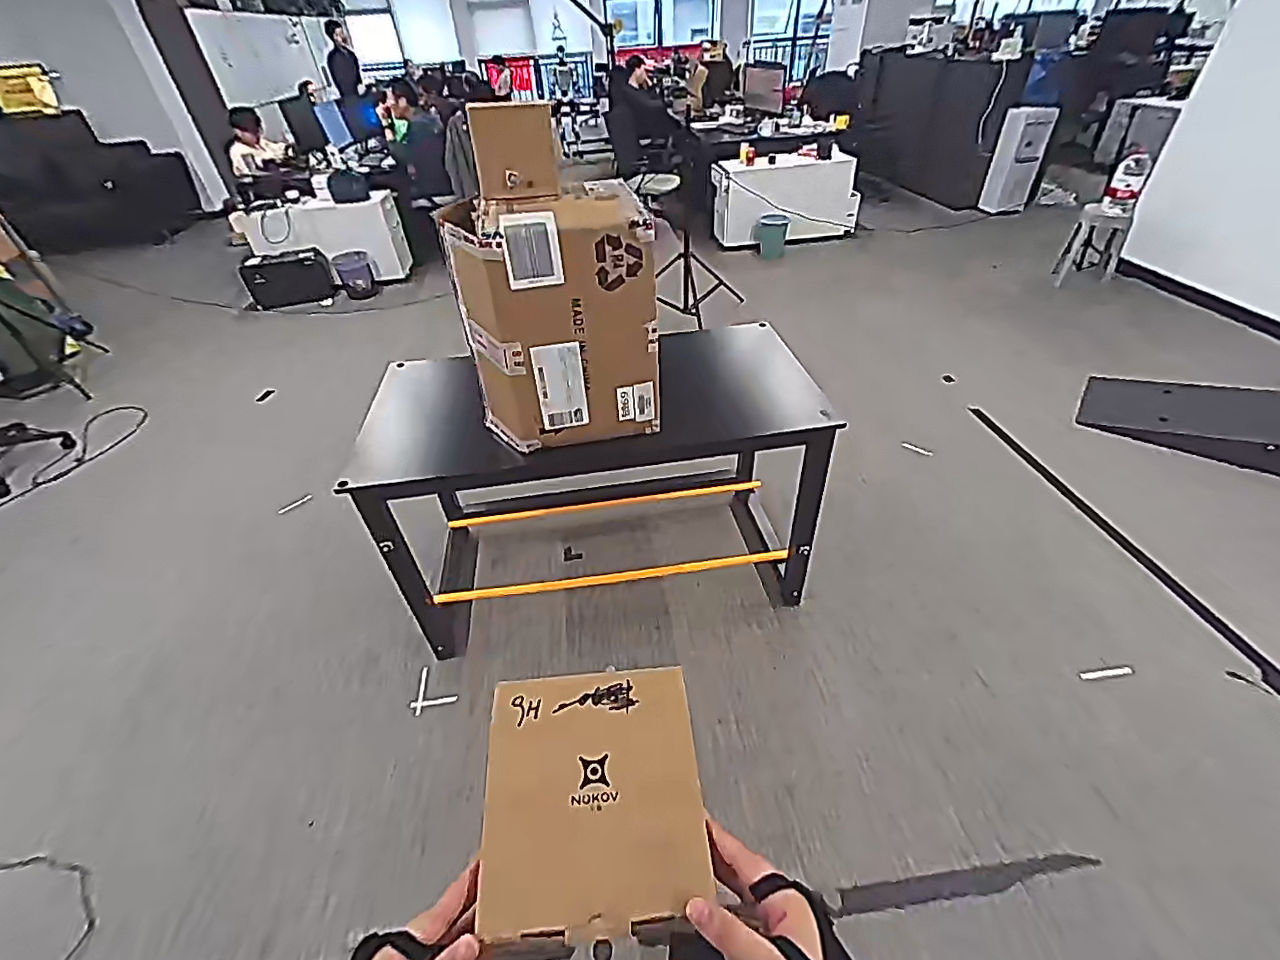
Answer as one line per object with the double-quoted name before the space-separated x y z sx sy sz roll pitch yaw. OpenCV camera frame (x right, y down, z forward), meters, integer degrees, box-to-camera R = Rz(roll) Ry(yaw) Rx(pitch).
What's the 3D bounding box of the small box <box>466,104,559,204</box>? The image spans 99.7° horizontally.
"small box" -0.276 -0.711 1.177 0.168 0.176 0.179 -11 39 -10
